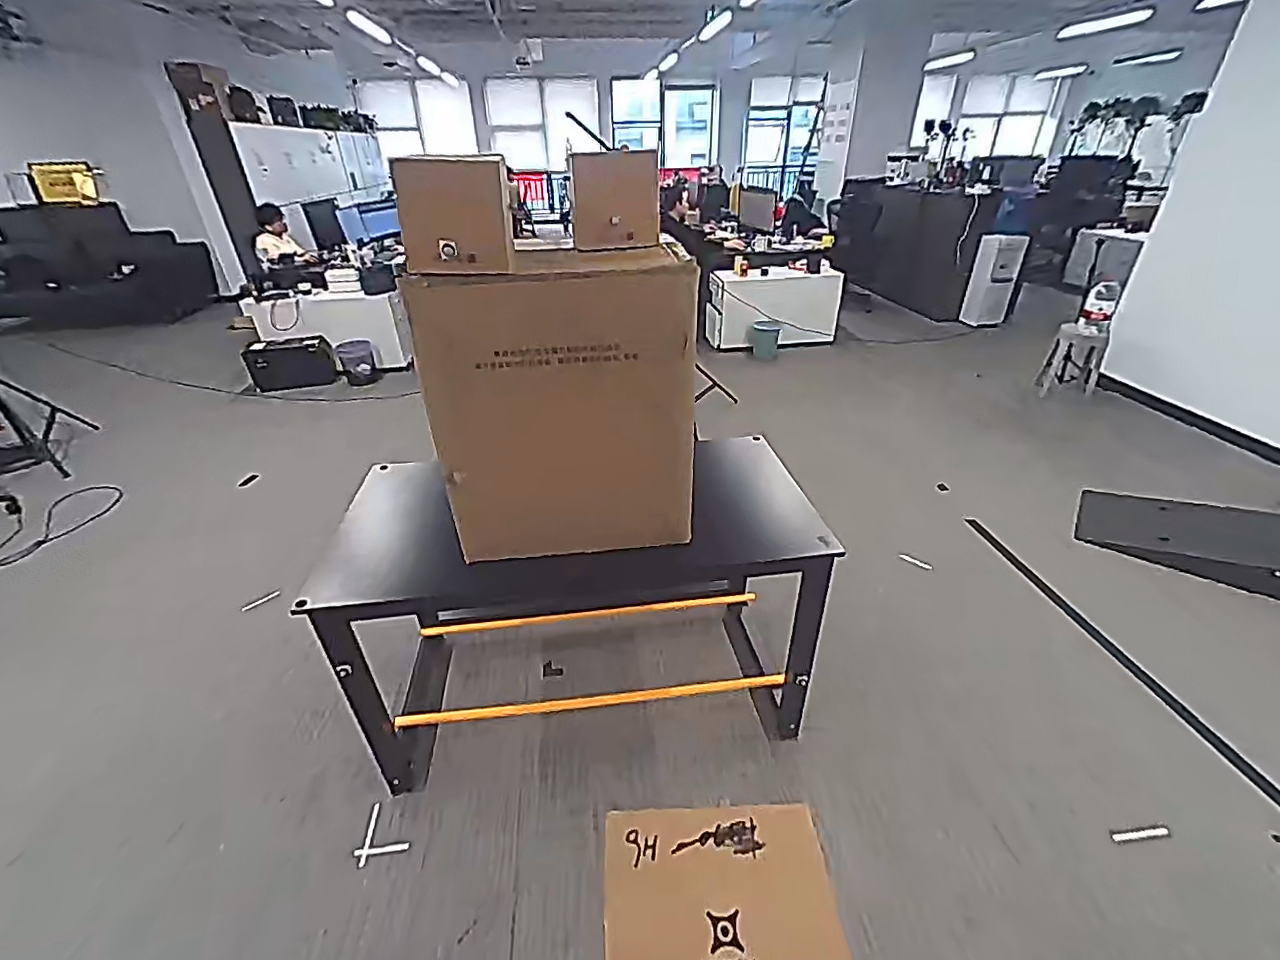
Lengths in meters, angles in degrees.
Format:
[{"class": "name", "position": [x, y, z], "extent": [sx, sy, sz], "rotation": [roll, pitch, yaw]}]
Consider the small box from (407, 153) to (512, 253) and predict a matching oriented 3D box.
[{"class": "small box", "position": [-0.355, -0.562, 1.099], "extent": [0.168, 0.176, 0.179], "rotation": [-5, 30, -8]}]

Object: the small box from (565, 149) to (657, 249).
[{"class": "small box", "position": [-0.061, -0.571, 1.102], "extent": [0.168, 0.176, 0.179], "rotation": [-7, 31, -7]}]
